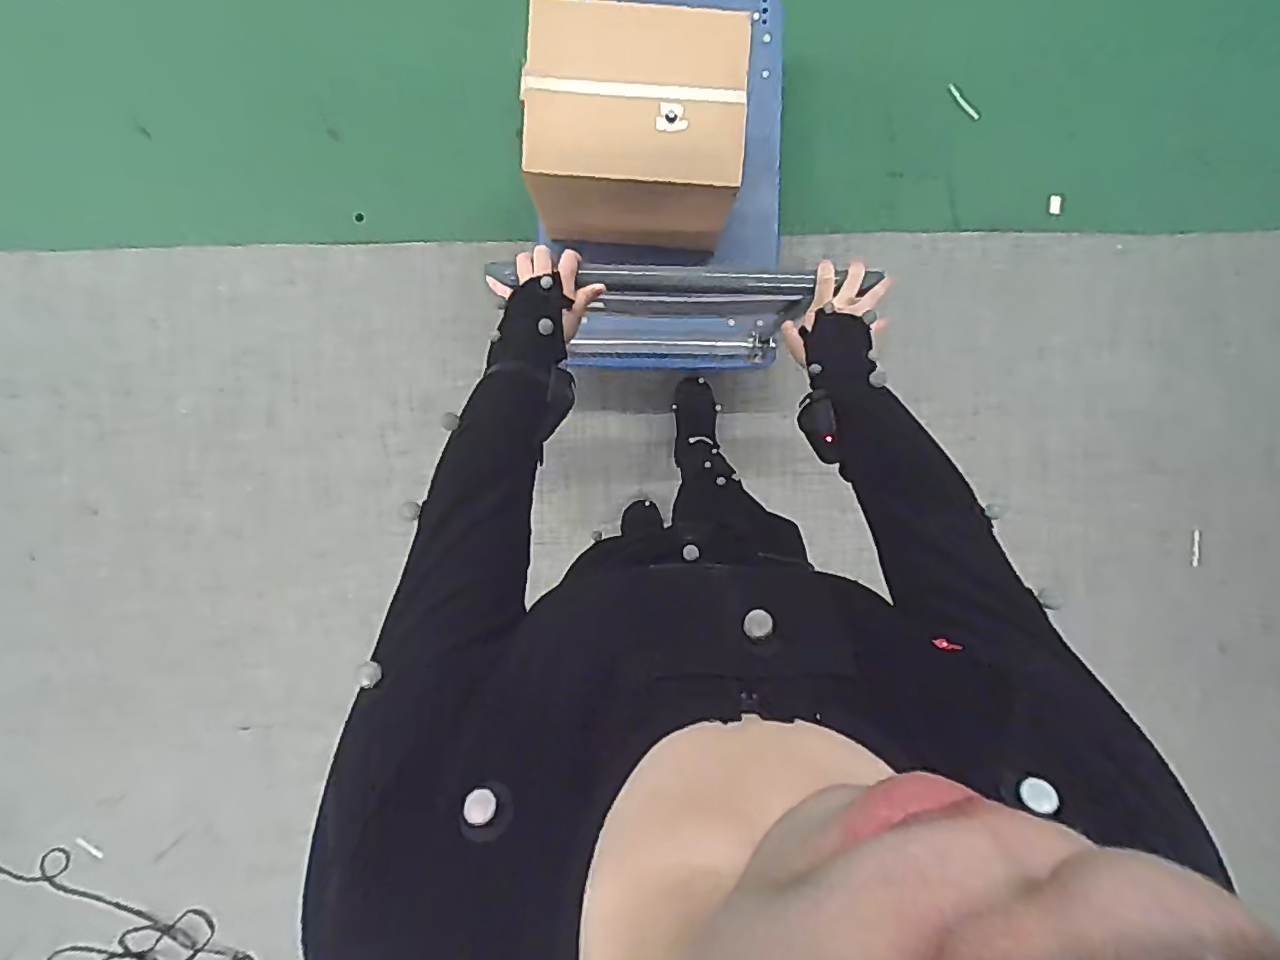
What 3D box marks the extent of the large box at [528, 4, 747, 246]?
[{"bbox_3d":[-0.011,-0.718,1.149,0.408,0.320,0.320,3,92,-2],"label":"large box"}]
